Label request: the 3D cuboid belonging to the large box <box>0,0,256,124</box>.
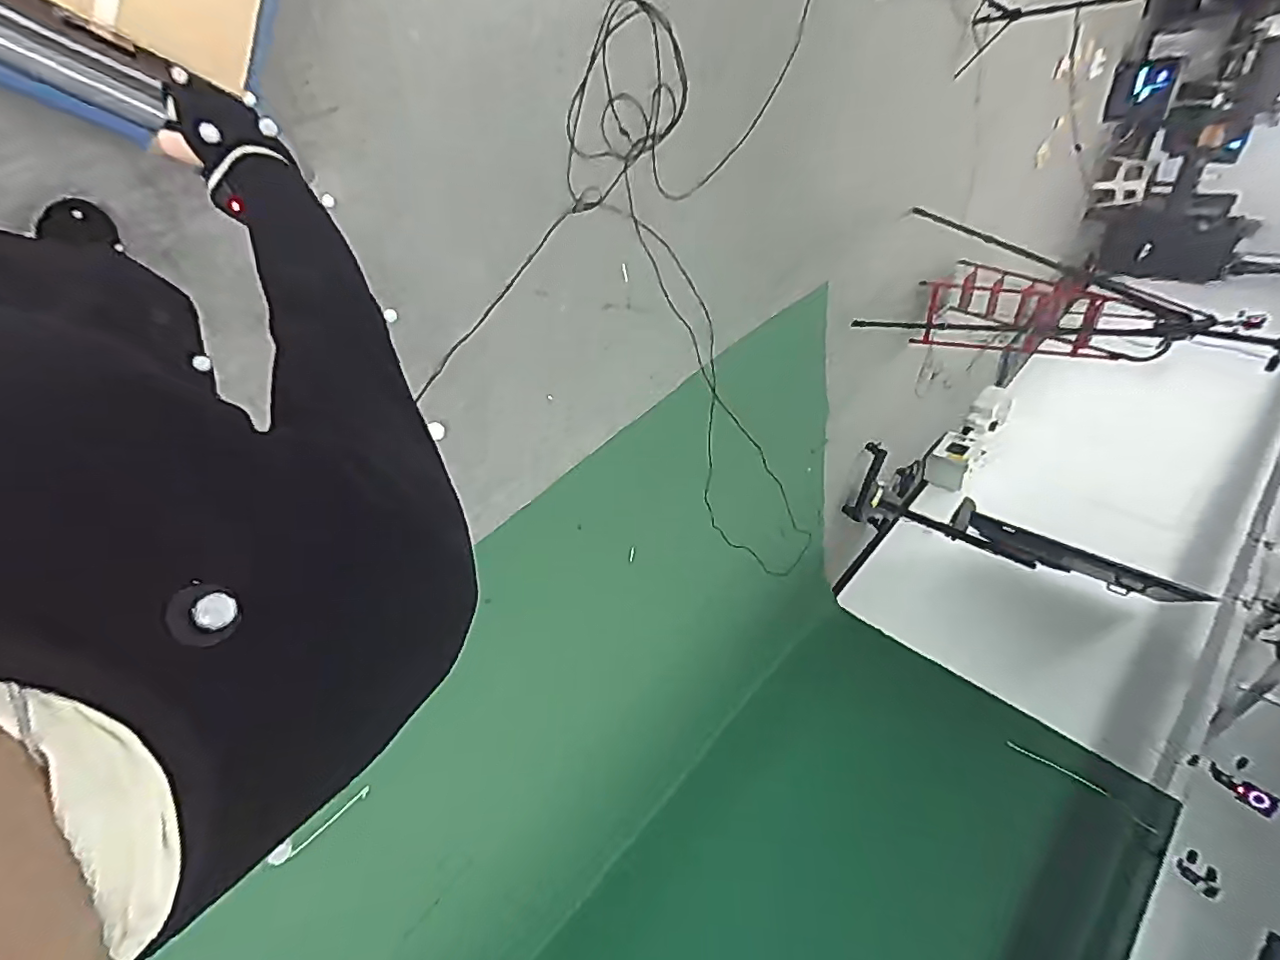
[{"bbox_3d":[-0.778,-0.826,0.797,0.320,0.320,0.408,7,105,-49],"label":"large box"}]
